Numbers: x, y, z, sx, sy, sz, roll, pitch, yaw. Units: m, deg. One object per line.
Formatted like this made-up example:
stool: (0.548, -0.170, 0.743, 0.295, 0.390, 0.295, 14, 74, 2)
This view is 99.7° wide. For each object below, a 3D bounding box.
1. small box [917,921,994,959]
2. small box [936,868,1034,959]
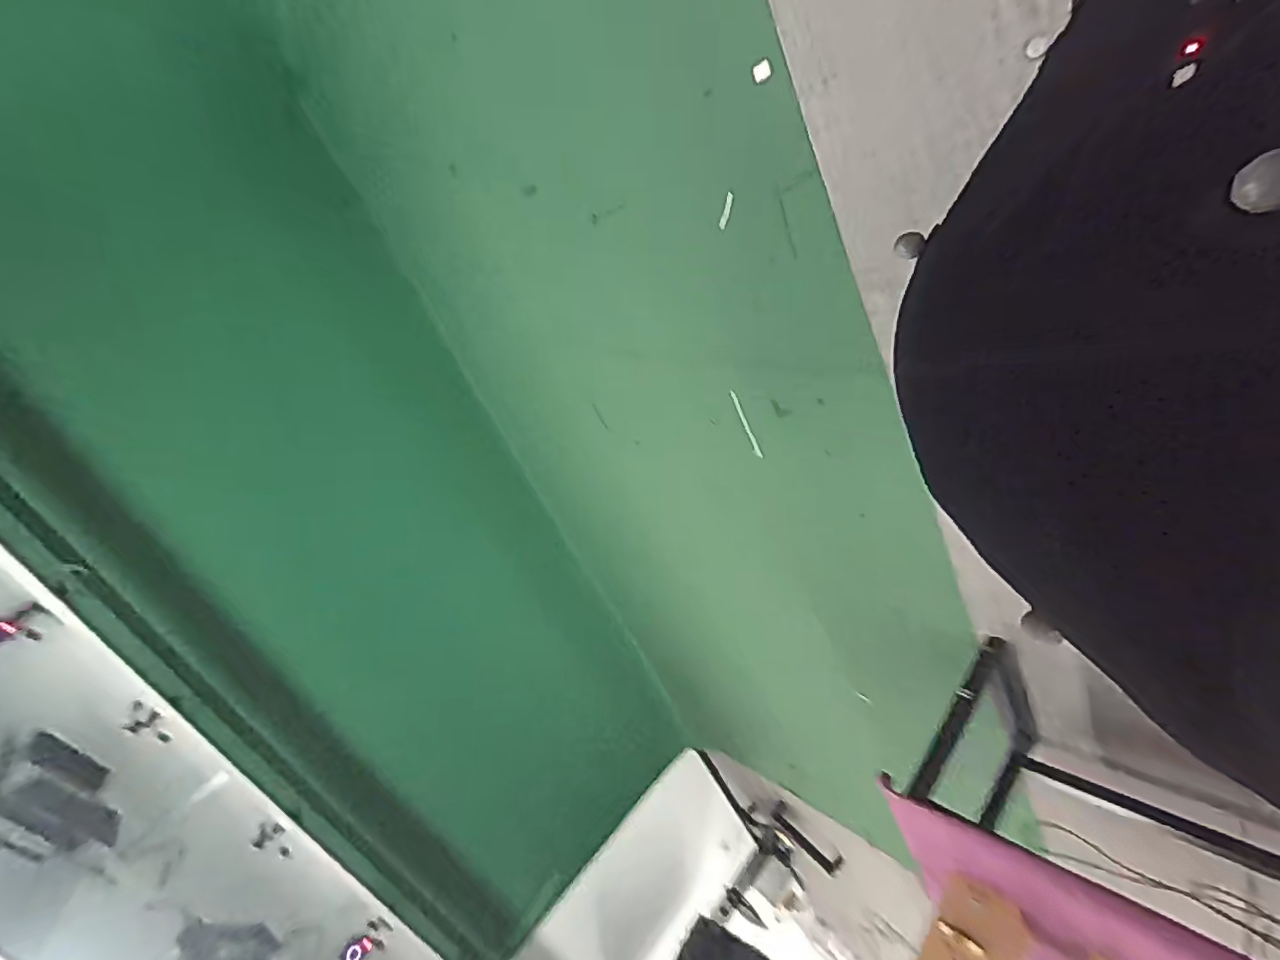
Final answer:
small box: (0.854, 1.339, 1.429, 0.168, 0.176, 0.179, -1, 123, 55)
small box: (0.963, 1.243, 1.503, 0.168, 0.176, 0.179, -2, 123, 55)
